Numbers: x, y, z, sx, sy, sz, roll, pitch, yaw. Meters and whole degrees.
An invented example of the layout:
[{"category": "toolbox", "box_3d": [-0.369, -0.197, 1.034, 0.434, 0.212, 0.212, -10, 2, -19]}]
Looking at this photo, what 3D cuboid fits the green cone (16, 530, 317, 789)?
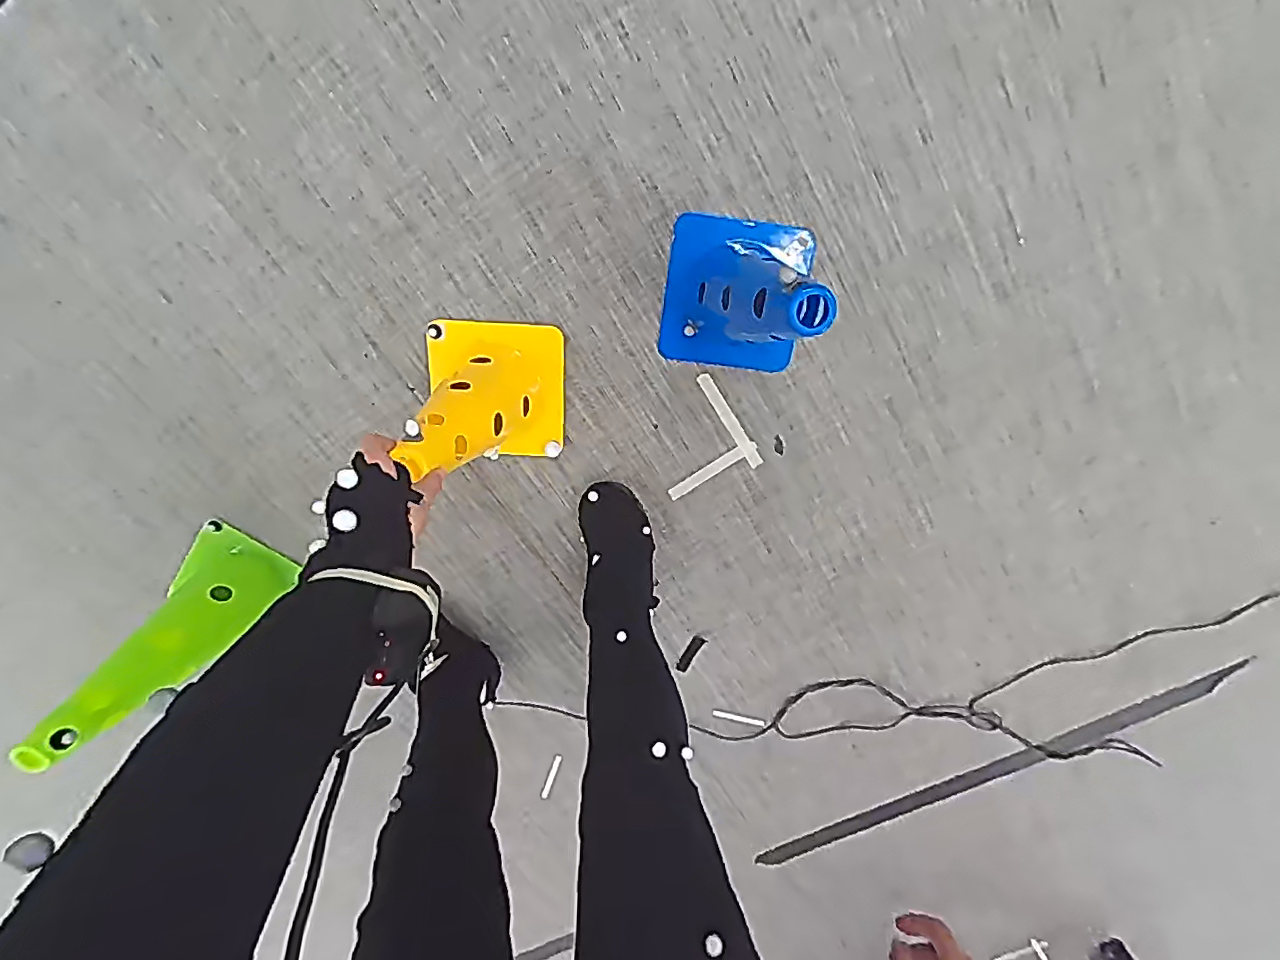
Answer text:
[{"category": "green cone", "box_3d": [-0.672, 0.261, 0.757, 0.202, 0.368, 0.200, 35, 106, -13]}]
